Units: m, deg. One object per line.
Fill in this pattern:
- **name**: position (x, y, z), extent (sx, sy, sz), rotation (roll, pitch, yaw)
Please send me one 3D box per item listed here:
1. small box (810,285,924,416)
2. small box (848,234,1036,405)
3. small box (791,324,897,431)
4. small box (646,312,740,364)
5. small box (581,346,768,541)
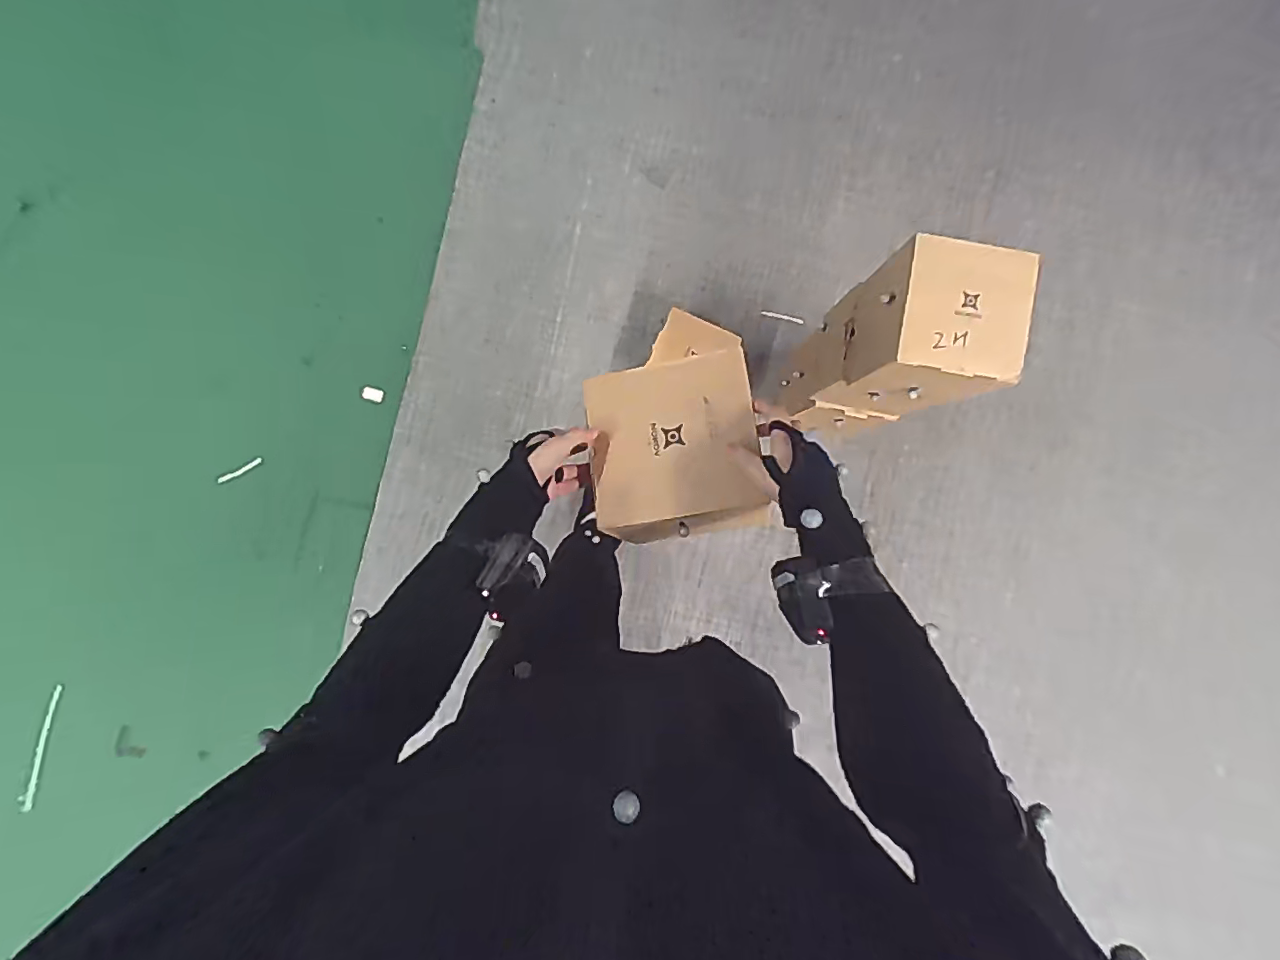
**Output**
- **small box**: position (0.416, -0.215, 0.944), extent (0.179, 0.176, 0.168), rotation (11, 88, -1)
- **small box**: position (0.420, -0.218, 0.779), extent (0.168, 0.176, 0.179), rotation (10, 88, 0)
- **small box**: position (0.421, -0.203, 1.108), extent (0.168, 0.176, 0.179), rotation (11, 89, -1)
- **small box**: position (0.112, -0.265, 1.272), extent (0.179, 0.176, 0.168), rotation (24, 89, 0)
- **small box**: position (0.046, -0.028, 0.621), extent (0.179, 0.176, 0.168), rotation (-10, 76, 11)
